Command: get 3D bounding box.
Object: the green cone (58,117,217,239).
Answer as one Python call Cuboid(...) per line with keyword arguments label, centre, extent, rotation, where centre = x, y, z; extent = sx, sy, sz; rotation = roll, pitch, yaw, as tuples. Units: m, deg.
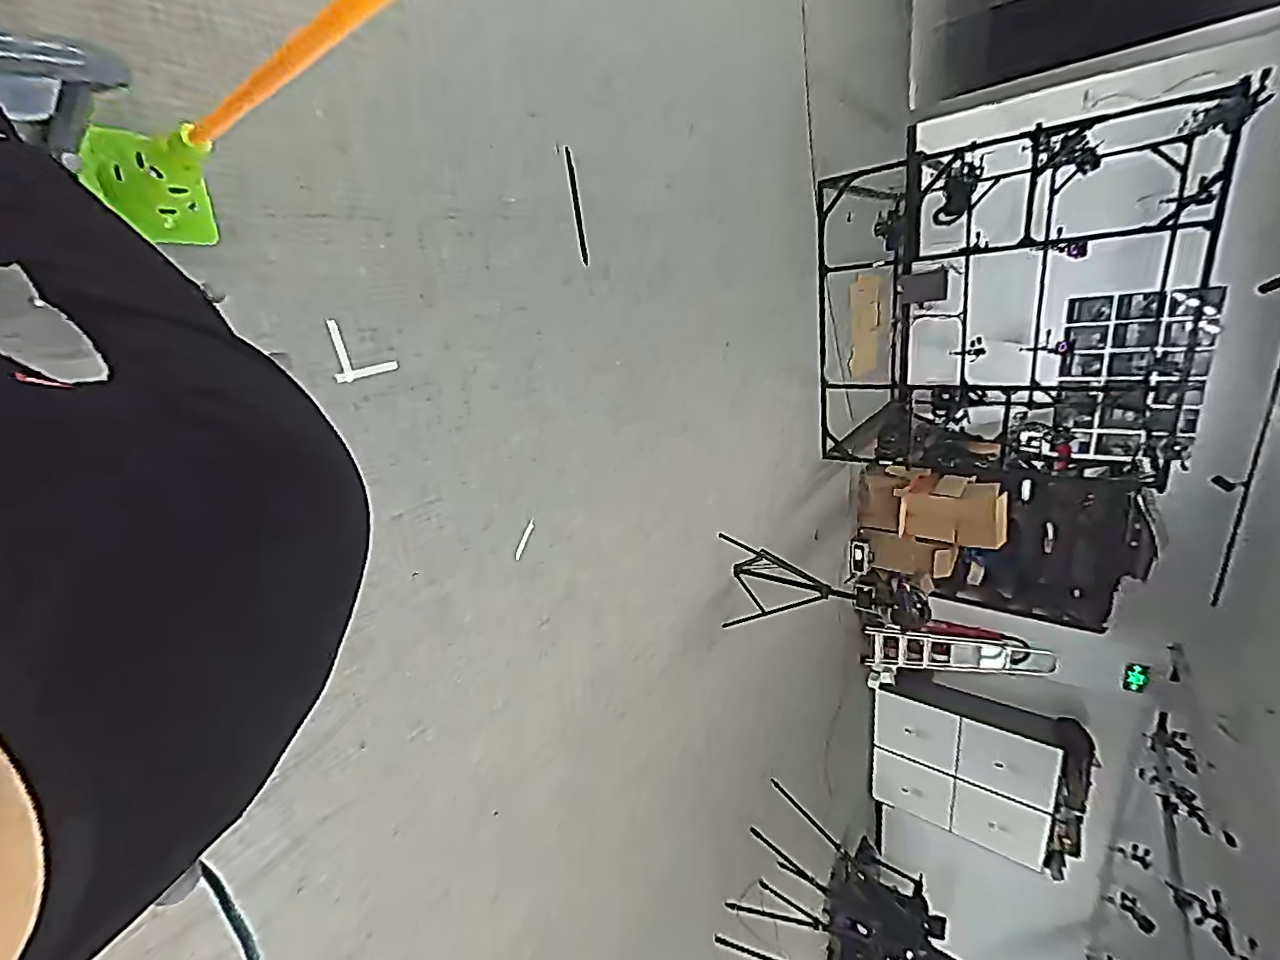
Cuboid(label="green cone", centre=(-0.856, -0.575, 0.977), extent=(0.202, 0.368, 0.200), rotation=(-25, 116, -50))
